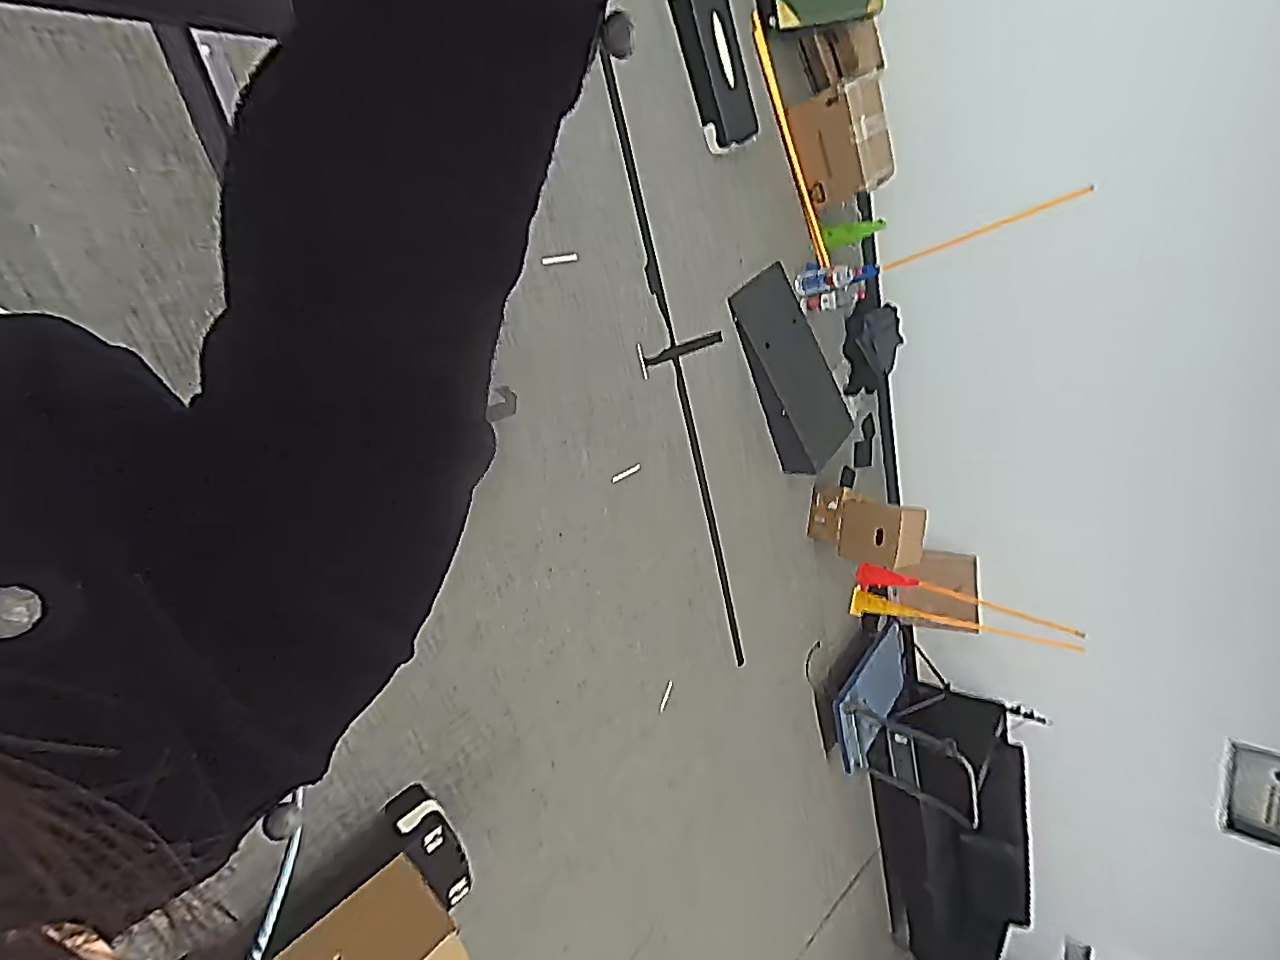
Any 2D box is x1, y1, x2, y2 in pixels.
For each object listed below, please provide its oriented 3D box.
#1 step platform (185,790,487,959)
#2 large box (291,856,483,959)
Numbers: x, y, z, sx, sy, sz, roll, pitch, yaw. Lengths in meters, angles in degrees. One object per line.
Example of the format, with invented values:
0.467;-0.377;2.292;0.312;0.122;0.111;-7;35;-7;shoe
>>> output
-0.734;1.137;1.367;0.684;0.204;0.286;-22;108;-42;step platform
-0.576;1.171;1.189;0.408;0.320;0.320;-29;113;-40;large box
